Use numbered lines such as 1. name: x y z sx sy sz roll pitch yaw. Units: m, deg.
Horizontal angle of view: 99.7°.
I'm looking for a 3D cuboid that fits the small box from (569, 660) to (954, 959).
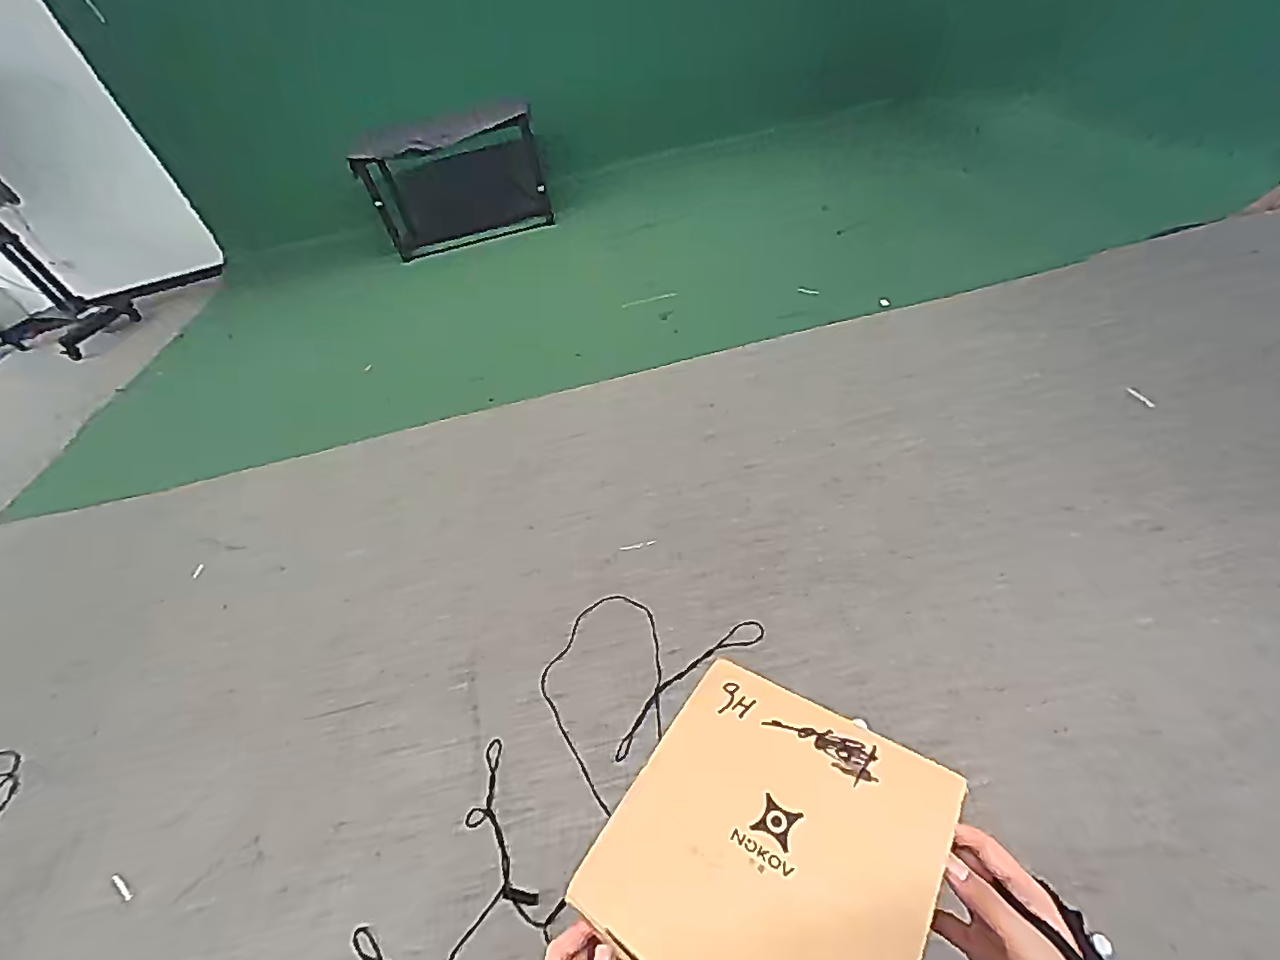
1. small box: 0.086 0.266 0.360 0.168 0.176 0.179 18 47 34
